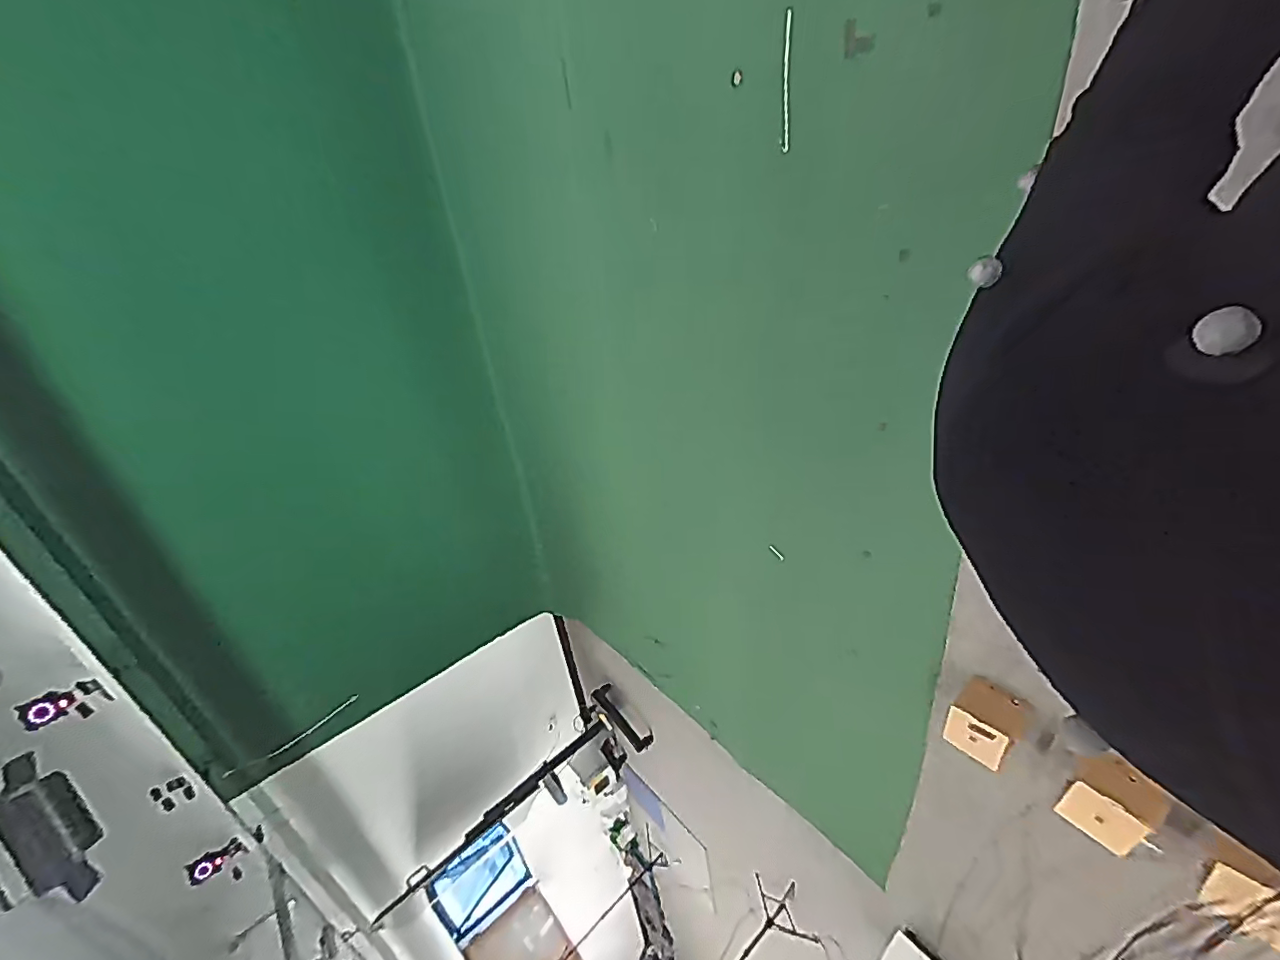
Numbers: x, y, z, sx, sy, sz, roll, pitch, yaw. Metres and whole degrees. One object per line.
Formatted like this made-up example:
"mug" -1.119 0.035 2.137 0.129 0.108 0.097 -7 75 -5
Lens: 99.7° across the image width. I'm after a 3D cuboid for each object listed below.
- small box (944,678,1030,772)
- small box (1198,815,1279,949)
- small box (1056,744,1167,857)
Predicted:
"small box" 1.100 0.767 1.713 0.168 0.176 0.179 27 135 44
"small box" 1.486 0.959 1.290 0.168 0.176 0.179 21 128 46
"small box" 1.306 0.882 1.498 0.168 0.176 0.179 32 137 41
